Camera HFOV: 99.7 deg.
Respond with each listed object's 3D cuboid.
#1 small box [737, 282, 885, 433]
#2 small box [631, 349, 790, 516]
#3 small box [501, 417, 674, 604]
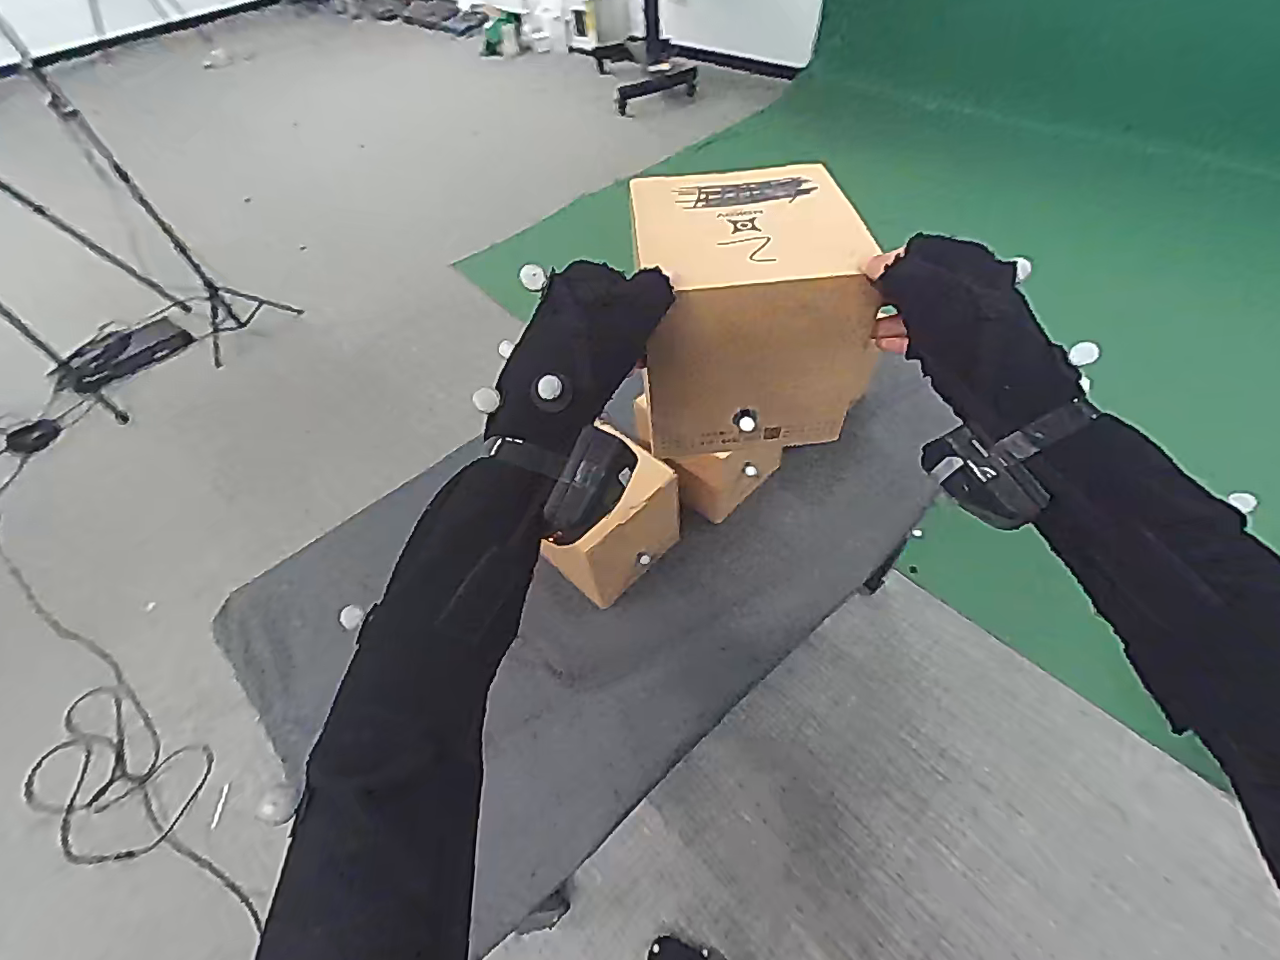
[{"bbox_3d":[0.286,-0.207,0.943,0.179,0.176,0.168,36,63,29],"label":"small box"},{"bbox_3d":[0.110,-0.068,0.857,0.168,0.176,0.179,-40,58,-23],"label":"small box"},{"bbox_3d":[-0.068,0.047,0.783,0.179,0.176,0.168,36,64,28],"label":"small box"}]
